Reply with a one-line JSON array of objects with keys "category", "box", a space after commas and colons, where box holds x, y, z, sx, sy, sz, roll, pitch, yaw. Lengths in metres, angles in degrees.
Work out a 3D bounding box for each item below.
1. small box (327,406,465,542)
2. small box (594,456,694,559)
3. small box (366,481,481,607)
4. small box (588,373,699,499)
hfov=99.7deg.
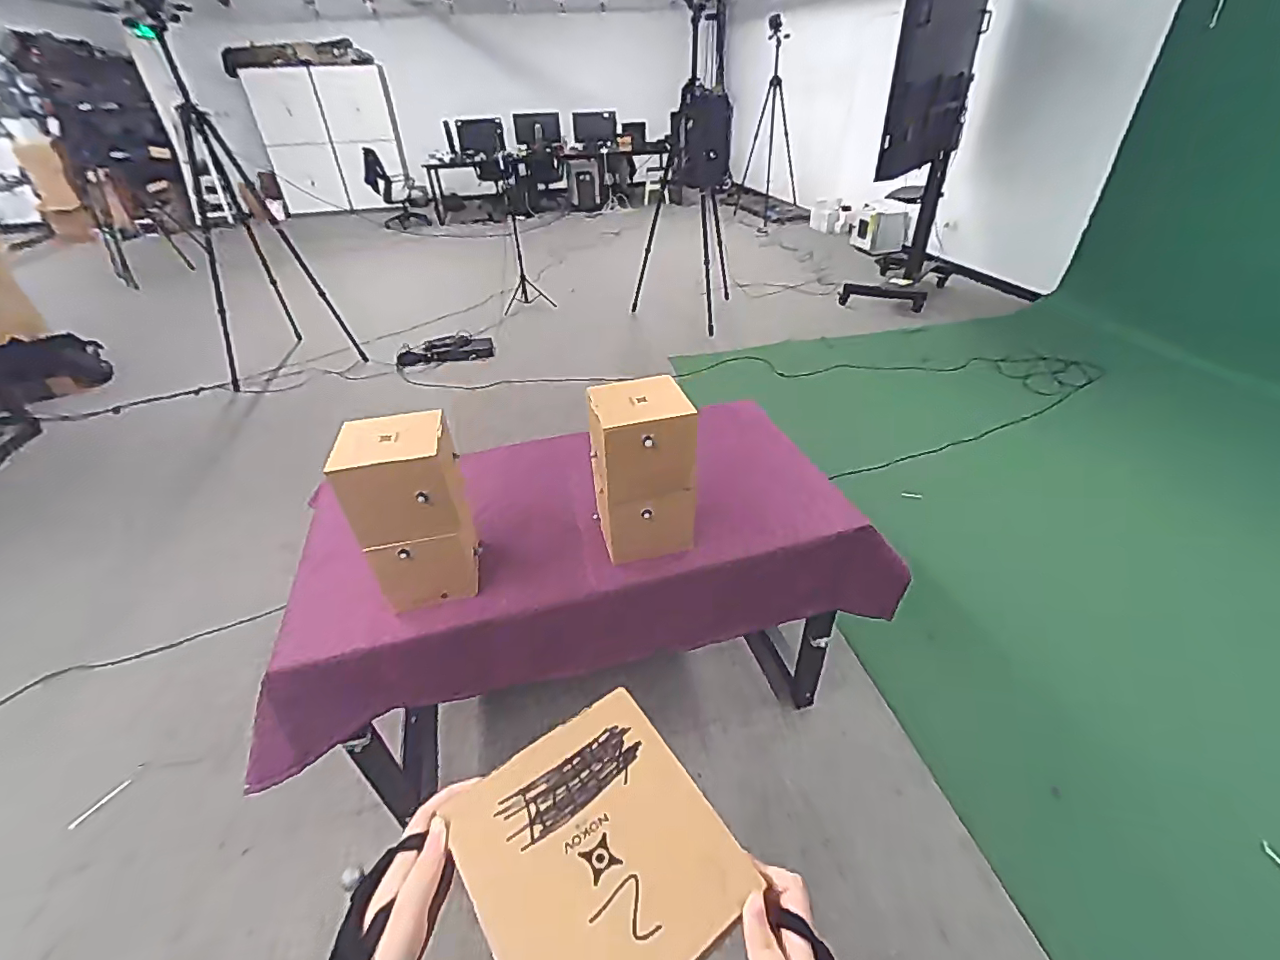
[{"category": "small box", "box": [-0.421, -0.011, 0.972, 0.179, 0.176, 0.168, -9, 37, -8]}, {"category": "small box", "box": [0.007, 0.046, 1.143, 0.179, 0.176, 0.168, -10, 37, -10]}, {"category": "small box", "box": [-0.416, 0.121, 1.070, 0.168, 0.176, 0.179, -10, 37, -9]}, {"category": "small box", "box": [0.005, -0.085, 1.047, 0.179, 0.176, 0.168, -11, 38, -10]}]
